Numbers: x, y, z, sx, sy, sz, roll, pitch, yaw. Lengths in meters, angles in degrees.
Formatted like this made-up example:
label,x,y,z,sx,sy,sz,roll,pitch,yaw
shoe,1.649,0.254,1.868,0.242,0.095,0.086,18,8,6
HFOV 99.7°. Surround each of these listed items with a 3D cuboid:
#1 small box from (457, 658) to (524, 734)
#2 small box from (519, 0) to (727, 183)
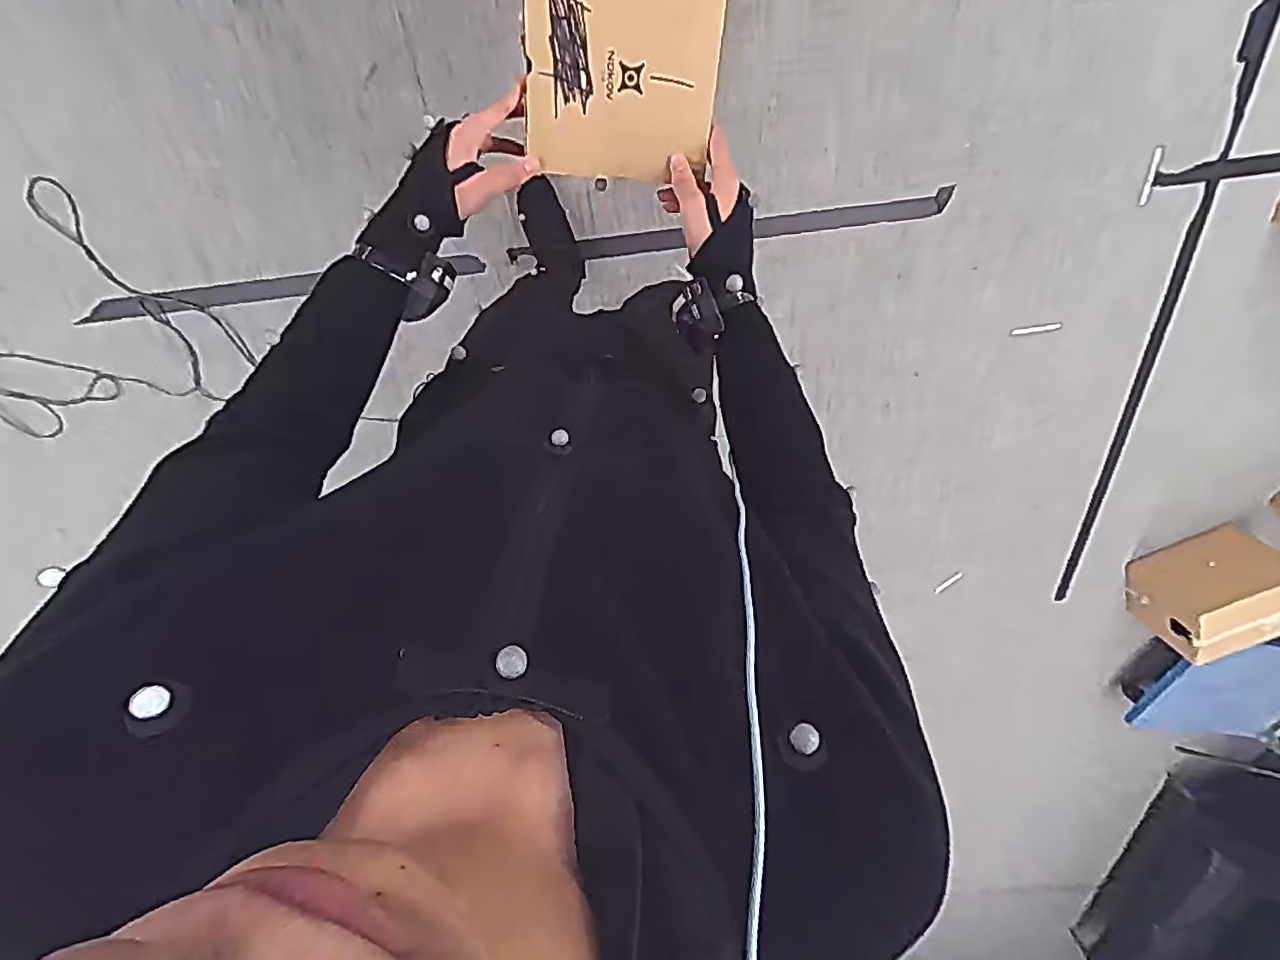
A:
label,x,y,z,sx,sy,sz,roll,pitch,yaw
small box,-0.503,0.735,1.845,0.179,0.176,0.168,-6,118,-2
small box,-0.025,-0.404,0.546,0.179,0.176,0.168,1,122,-8
